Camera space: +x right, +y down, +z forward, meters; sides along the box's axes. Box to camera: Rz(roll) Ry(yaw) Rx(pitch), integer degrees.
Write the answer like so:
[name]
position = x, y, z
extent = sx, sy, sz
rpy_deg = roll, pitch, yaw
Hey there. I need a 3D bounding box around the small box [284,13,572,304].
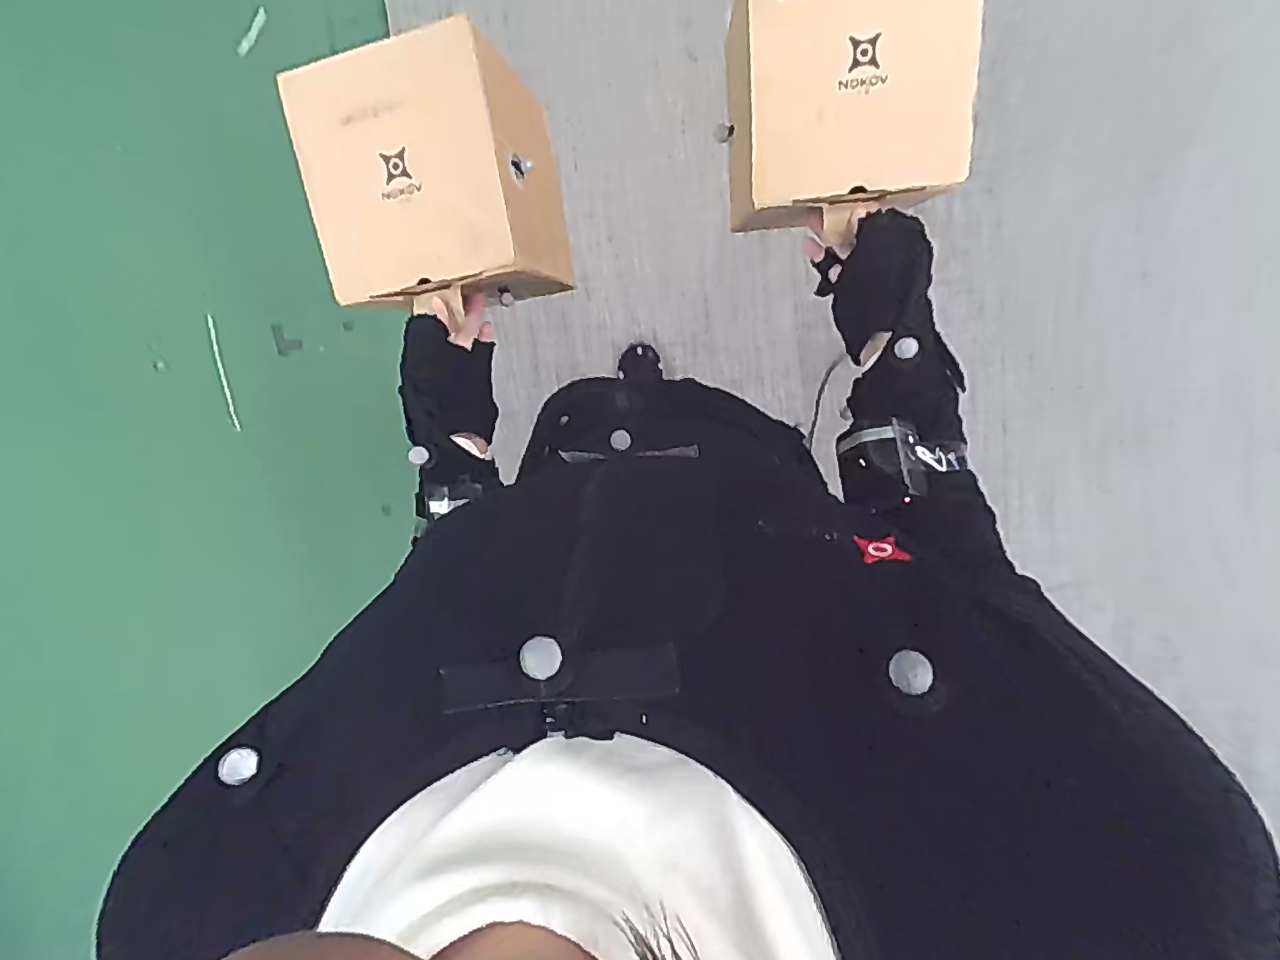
[small box]
position = -0.175, -0.268, 0.505
extent = 0.168, 0.176, 0.179
rpy_deg = -8, 102, 13
